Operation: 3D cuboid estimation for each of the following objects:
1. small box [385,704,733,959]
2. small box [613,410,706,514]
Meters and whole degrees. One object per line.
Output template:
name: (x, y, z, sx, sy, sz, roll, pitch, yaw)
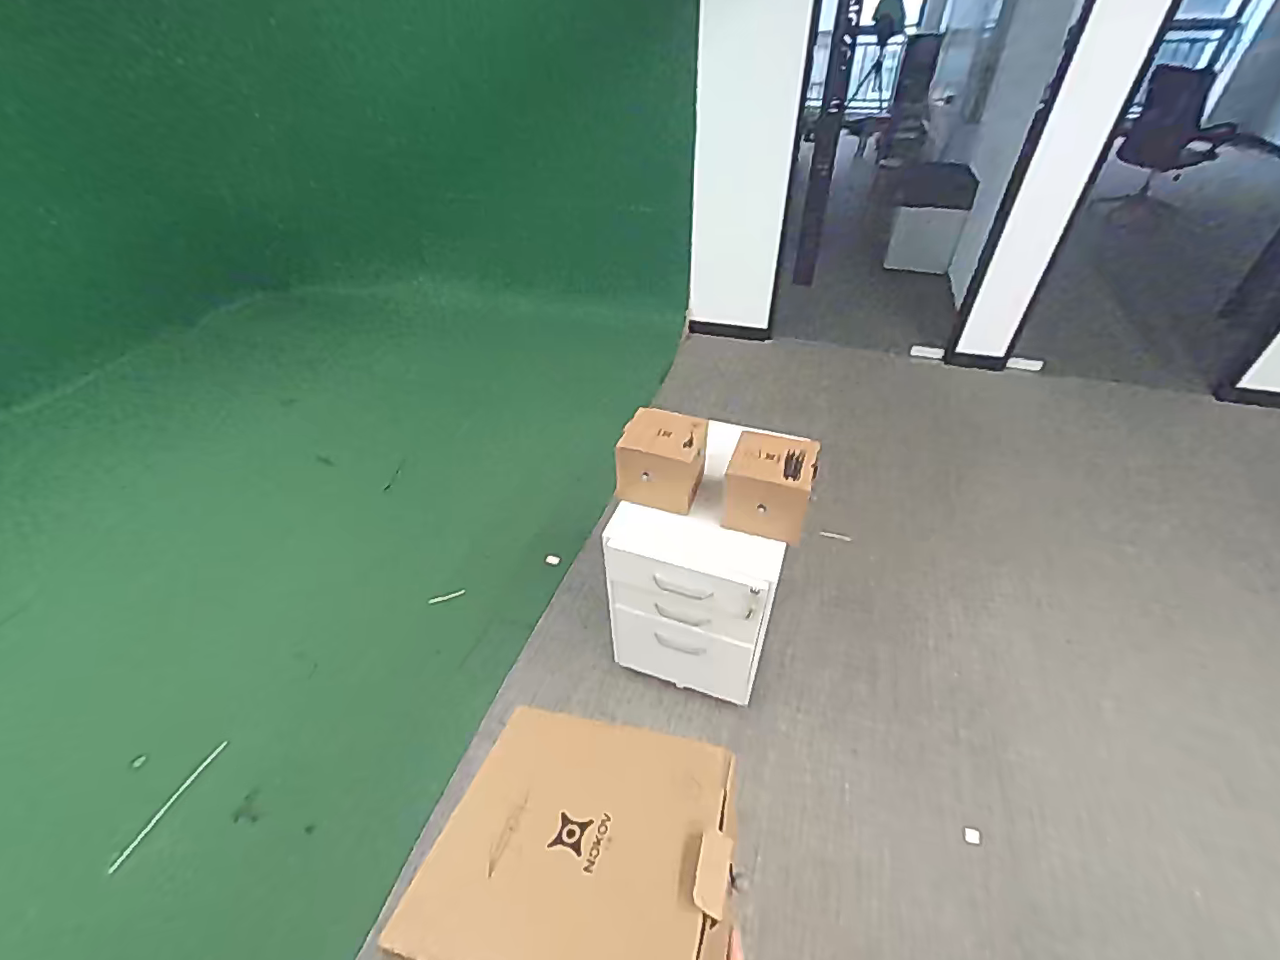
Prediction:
small box: (-0.032, 0.294, 0.380, 0.179, 0.176, 0.168, 3, 27, 18)
small box: (0.047, -0.041, 1.278, 0.179, 0.176, 0.168, 13, 44, 14)
